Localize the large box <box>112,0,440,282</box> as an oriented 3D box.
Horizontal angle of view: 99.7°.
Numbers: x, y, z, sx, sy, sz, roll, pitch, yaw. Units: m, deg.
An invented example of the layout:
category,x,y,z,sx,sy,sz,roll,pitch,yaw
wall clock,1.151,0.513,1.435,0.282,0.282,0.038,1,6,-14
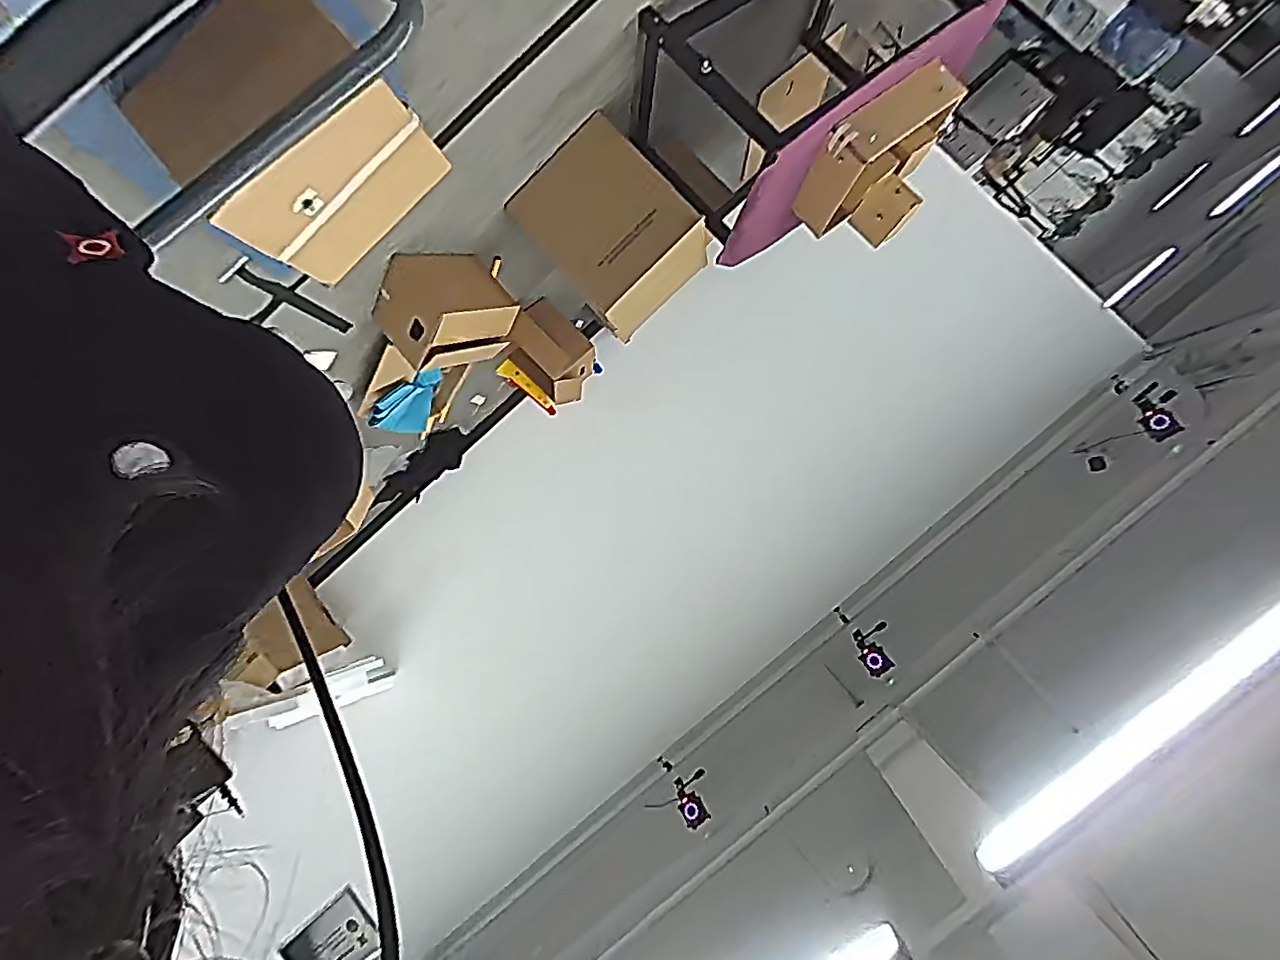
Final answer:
category,x,y,z,sx,sy,sz,roll,pitch,yaw
large box,-0.710,-0.704,1.103,0.408,0.320,0.320,-41,173,5
